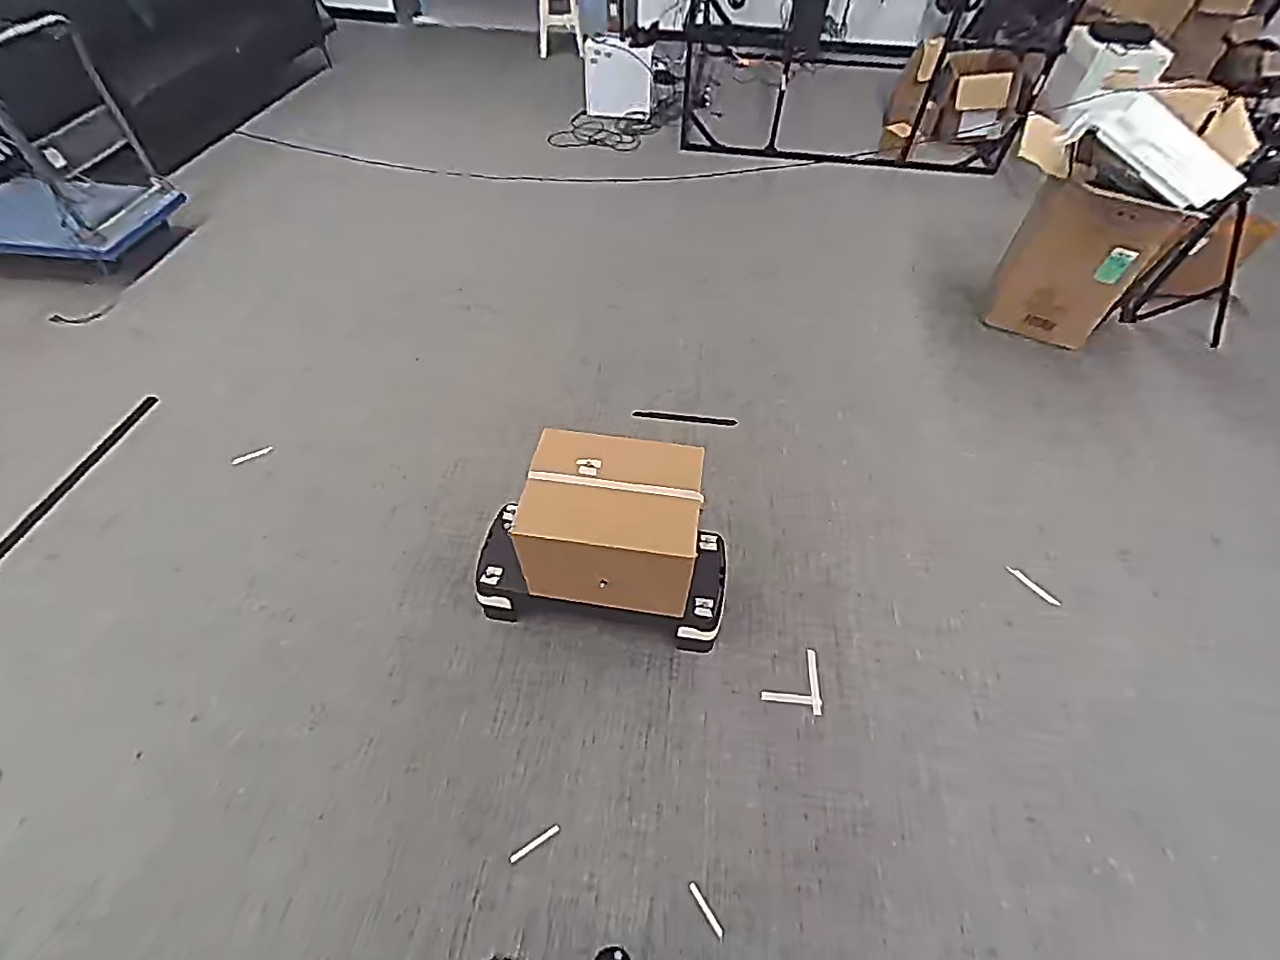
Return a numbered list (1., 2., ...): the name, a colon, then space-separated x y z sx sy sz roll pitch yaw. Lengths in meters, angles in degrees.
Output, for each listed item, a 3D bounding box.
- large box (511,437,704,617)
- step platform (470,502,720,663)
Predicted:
1. large box: -0.059 0.122 1.344 0.408 0.320 0.320 6 52 5
2. step platform: -0.120 0.277 1.525 0.684 0.204 0.286 11 53 8
